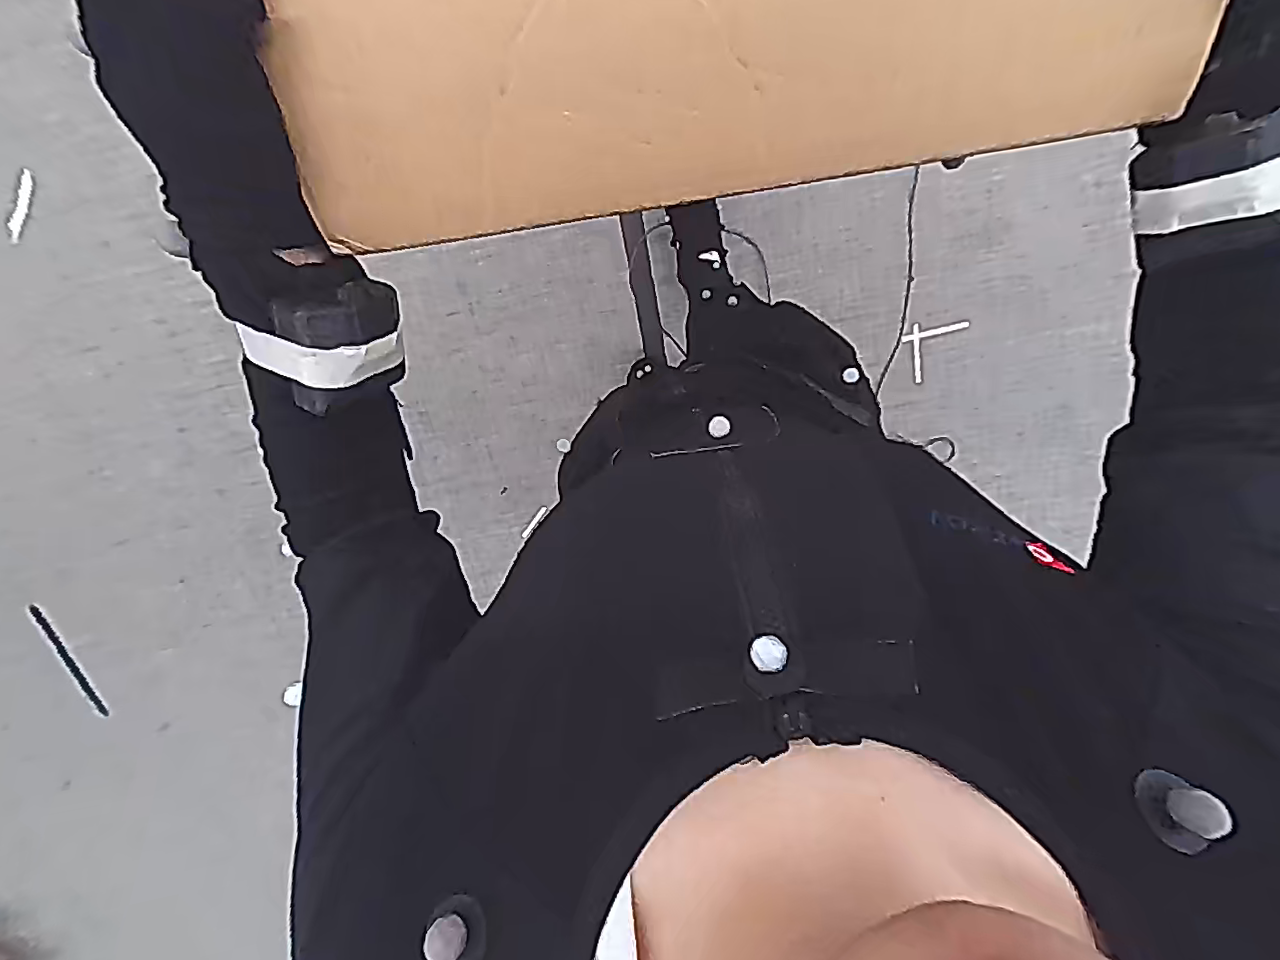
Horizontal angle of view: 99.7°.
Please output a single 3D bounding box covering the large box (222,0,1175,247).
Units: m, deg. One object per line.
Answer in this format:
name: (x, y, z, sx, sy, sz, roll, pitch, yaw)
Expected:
large box: (0.015, -0.357, 0.288, 0.408, 0.320, 0.320, -8, 128, 2)
